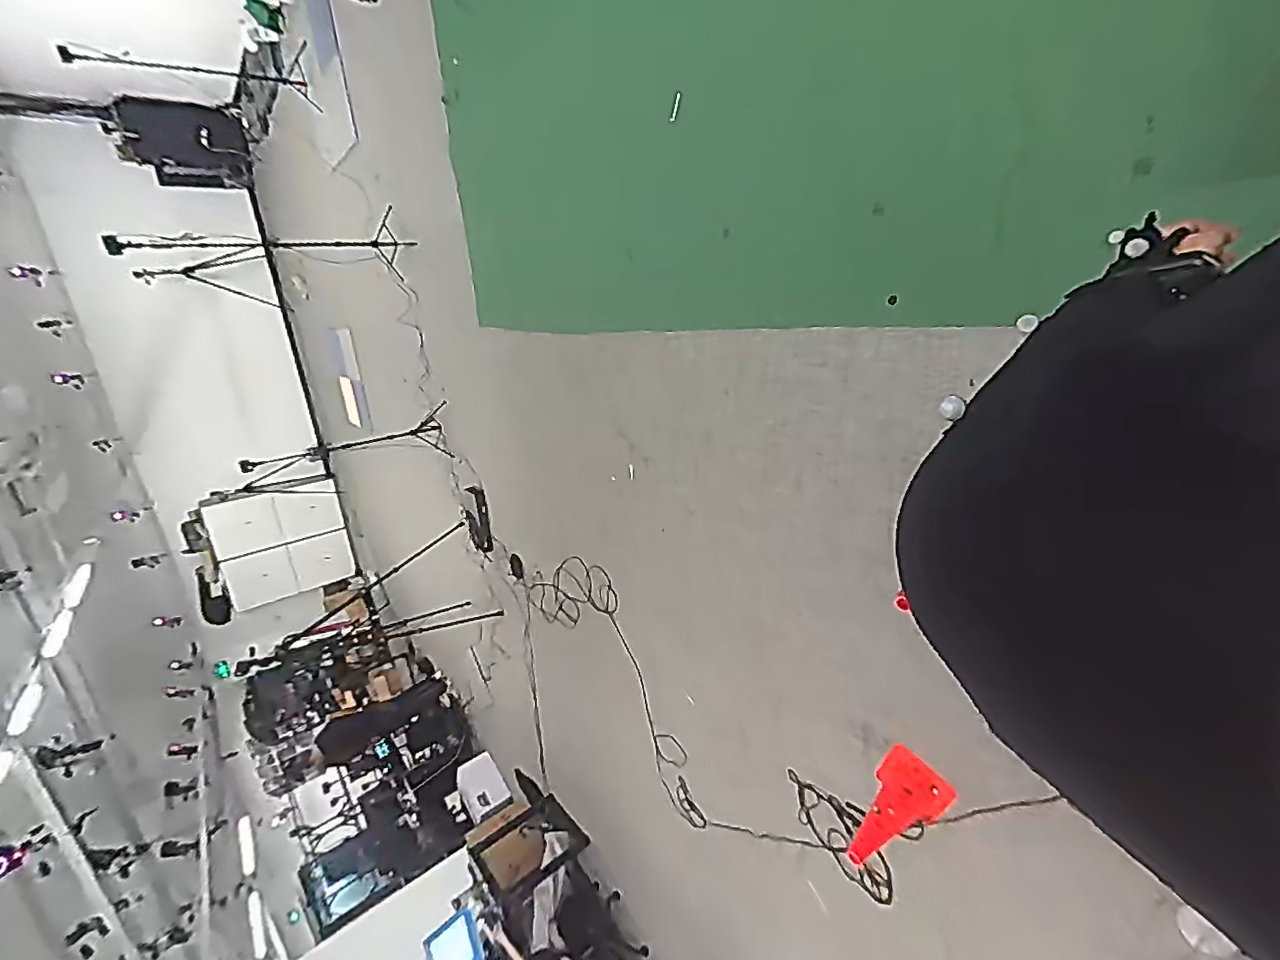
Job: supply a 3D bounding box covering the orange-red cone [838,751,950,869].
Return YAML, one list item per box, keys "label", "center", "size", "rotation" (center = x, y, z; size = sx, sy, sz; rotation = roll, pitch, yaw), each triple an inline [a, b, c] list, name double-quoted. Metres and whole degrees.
- label: "orange-red cone"
  center: [0.688, 0.994, 1.561]
  size: [0.199, 0.360, 0.198]
  rotation: [42, 133, 38]
